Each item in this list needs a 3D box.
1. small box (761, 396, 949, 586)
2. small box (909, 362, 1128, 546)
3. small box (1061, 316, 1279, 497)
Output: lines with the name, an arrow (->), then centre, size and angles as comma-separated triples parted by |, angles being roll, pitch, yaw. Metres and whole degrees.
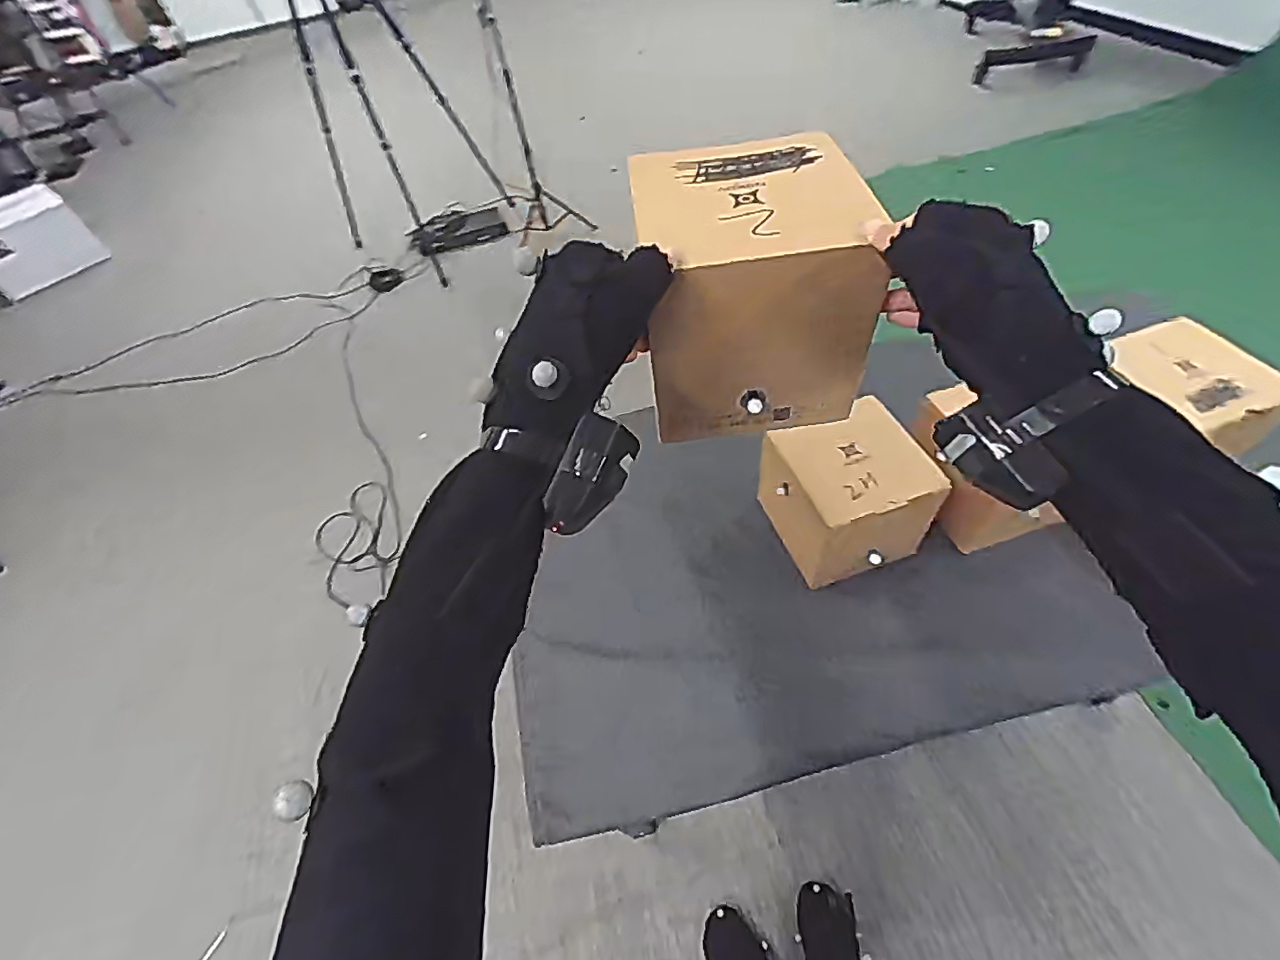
small box -> 0.279, 0.018, 0.754 | 0.168, 0.176, 0.179 | -19, 53, -5
small box -> 0.498, -0.028, 0.757 | 0.168, 0.176, 0.179 | -18, 52, -5
small box -> 0.729, -0.096, 0.769 | 0.168, 0.176, 0.179 | -18, 52, -5
